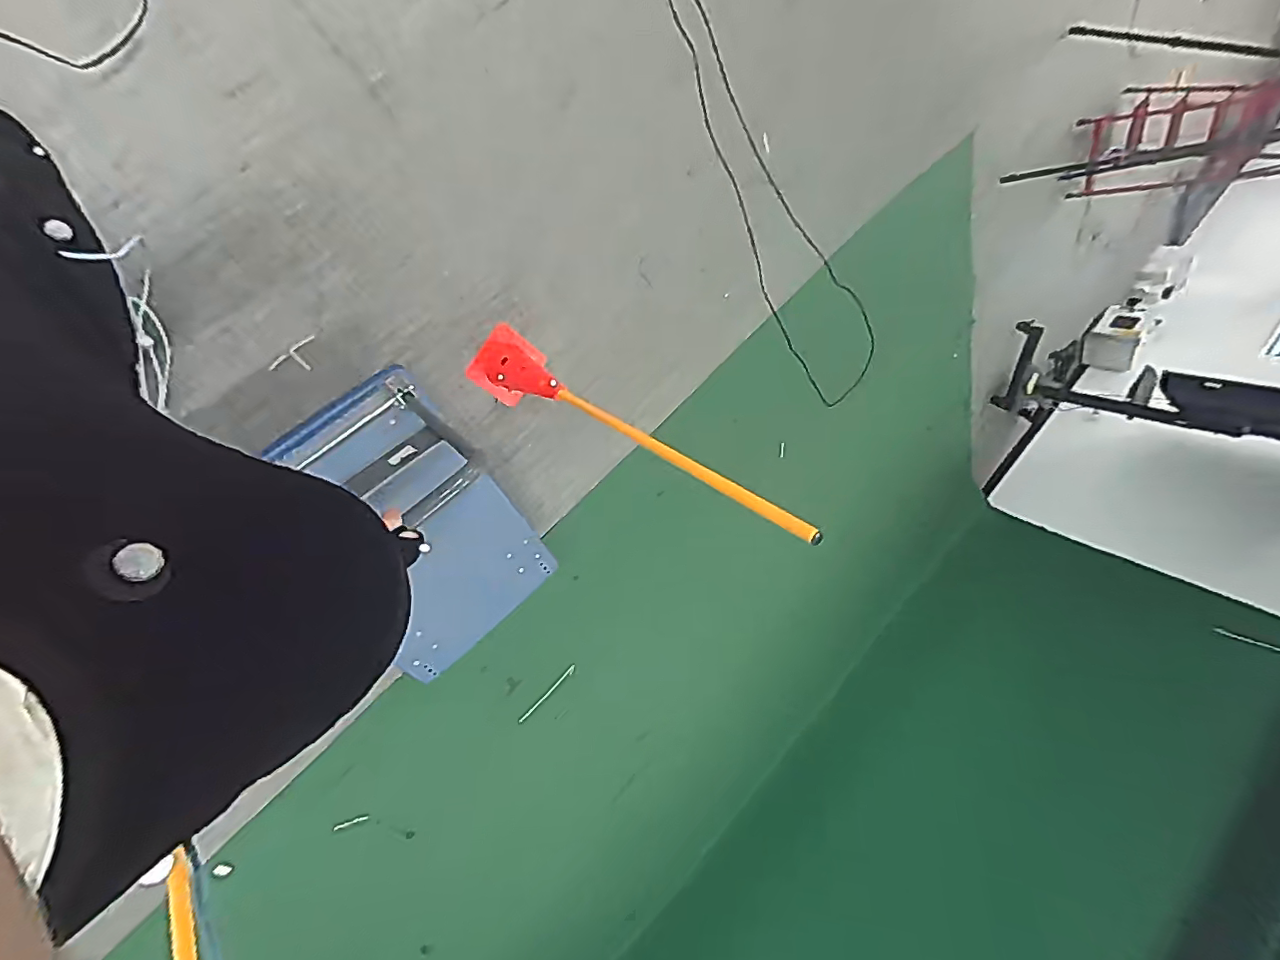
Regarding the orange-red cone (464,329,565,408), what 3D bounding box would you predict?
[{"bbox_3d":[-0.323,-0.286,1.570,0.198,0.360,0.199,38,84,-45],"label":"orange-red cone"}]
